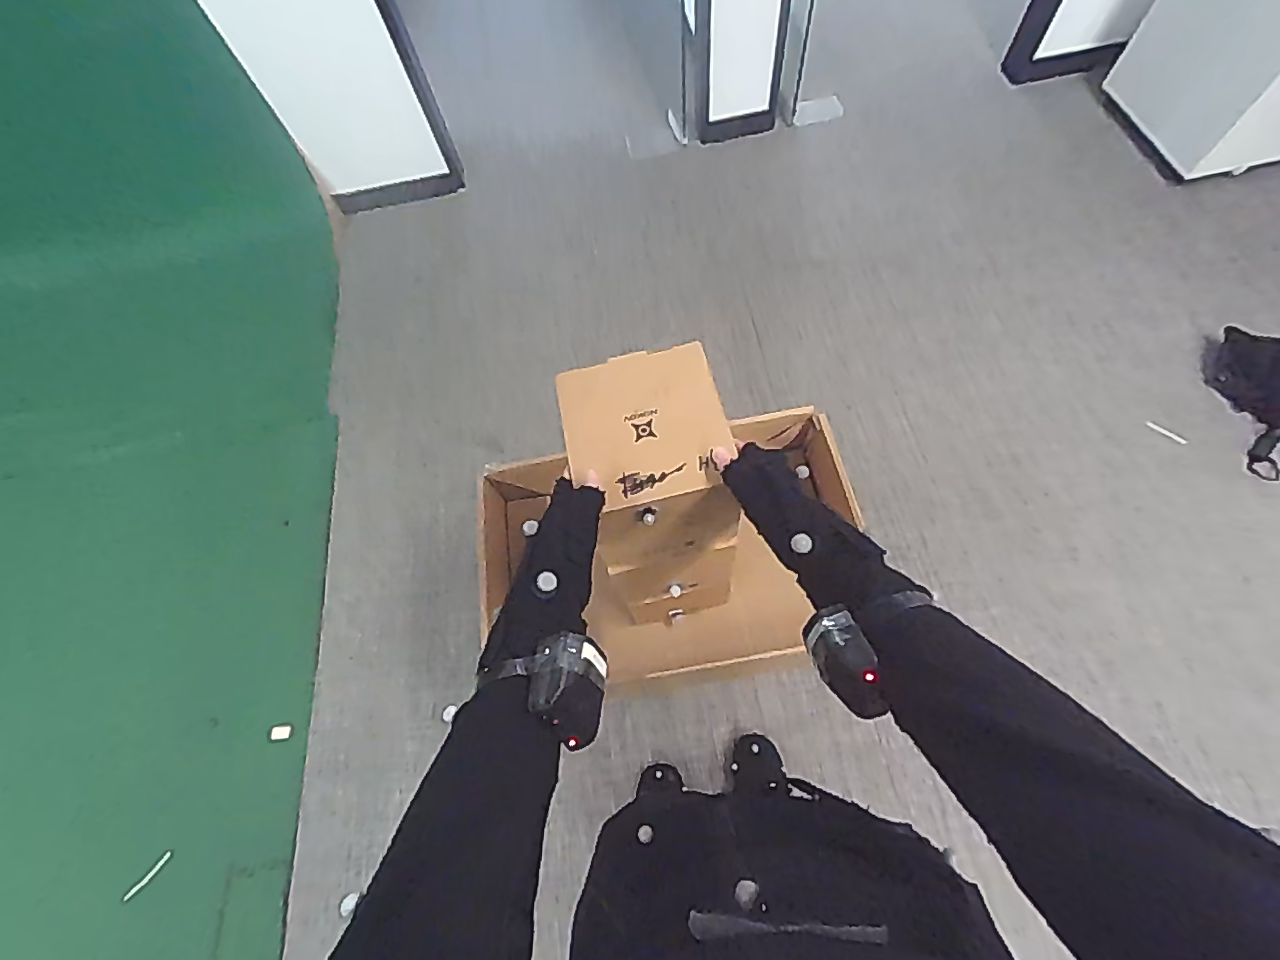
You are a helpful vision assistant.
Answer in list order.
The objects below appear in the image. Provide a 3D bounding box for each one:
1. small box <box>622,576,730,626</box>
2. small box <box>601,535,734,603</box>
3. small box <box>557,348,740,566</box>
[{"bbox_3d":[0.045,0.131,0.917,0.168,0.176,0.179,-15,65,0],"label":"small box"},{"bbox_3d":[0.029,0.059,0.771,0.168,0.176,0.179,-13,64,1],"label":"small box"},{"bbox_3d":[0.011,-0.019,0.629,0.168,0.176,0.179,-13,64,1],"label":"small box"}]
